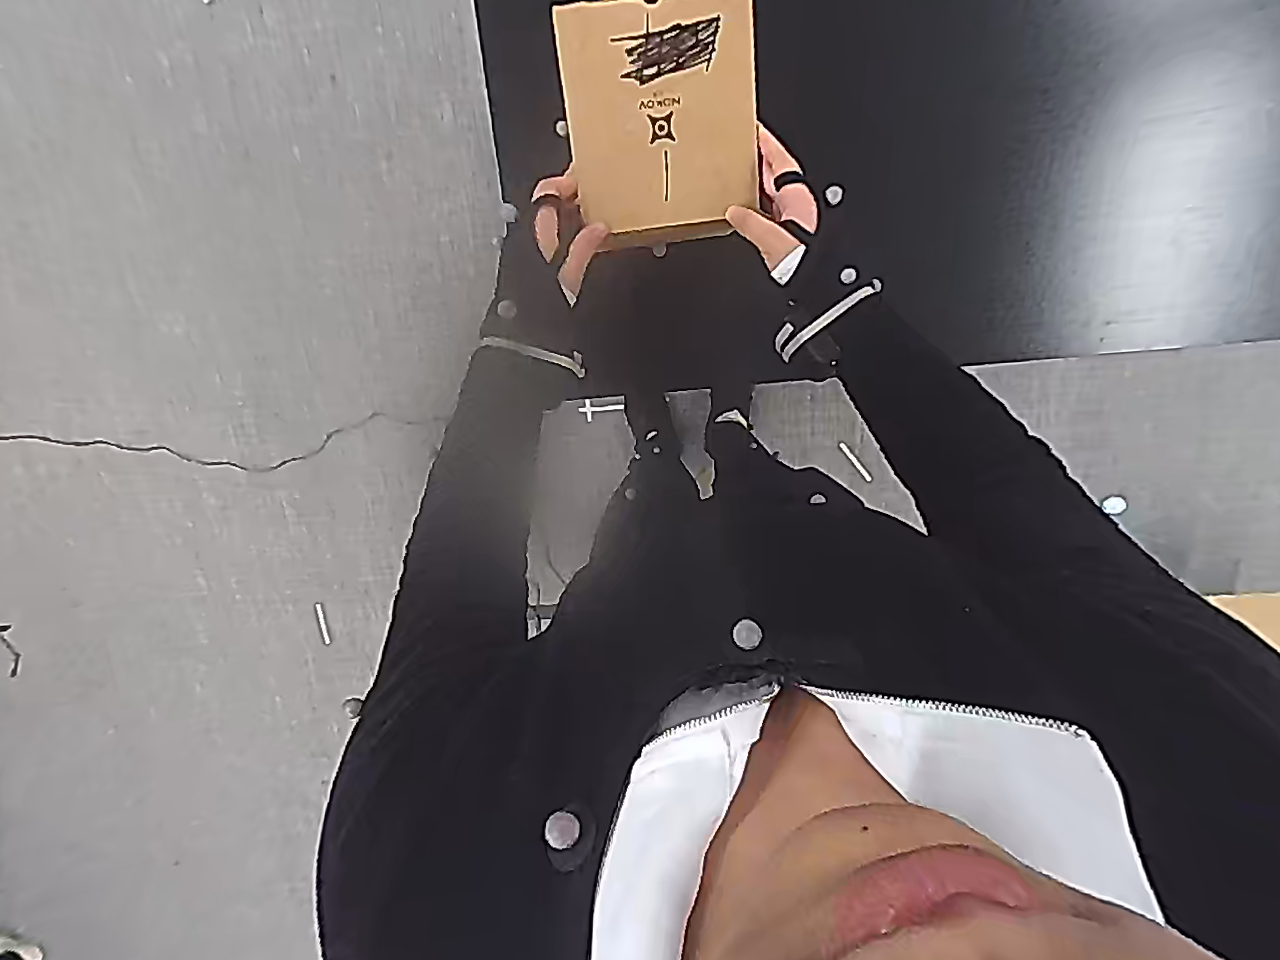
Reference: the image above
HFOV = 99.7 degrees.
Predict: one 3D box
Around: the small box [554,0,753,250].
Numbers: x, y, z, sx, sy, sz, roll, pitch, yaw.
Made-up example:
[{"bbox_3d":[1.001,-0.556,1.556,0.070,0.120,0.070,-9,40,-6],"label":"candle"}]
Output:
[{"bbox_3d":[0.013,-0.344,0.553,0.168,0.176,0.179,-7,109,1],"label":"small box"}]
